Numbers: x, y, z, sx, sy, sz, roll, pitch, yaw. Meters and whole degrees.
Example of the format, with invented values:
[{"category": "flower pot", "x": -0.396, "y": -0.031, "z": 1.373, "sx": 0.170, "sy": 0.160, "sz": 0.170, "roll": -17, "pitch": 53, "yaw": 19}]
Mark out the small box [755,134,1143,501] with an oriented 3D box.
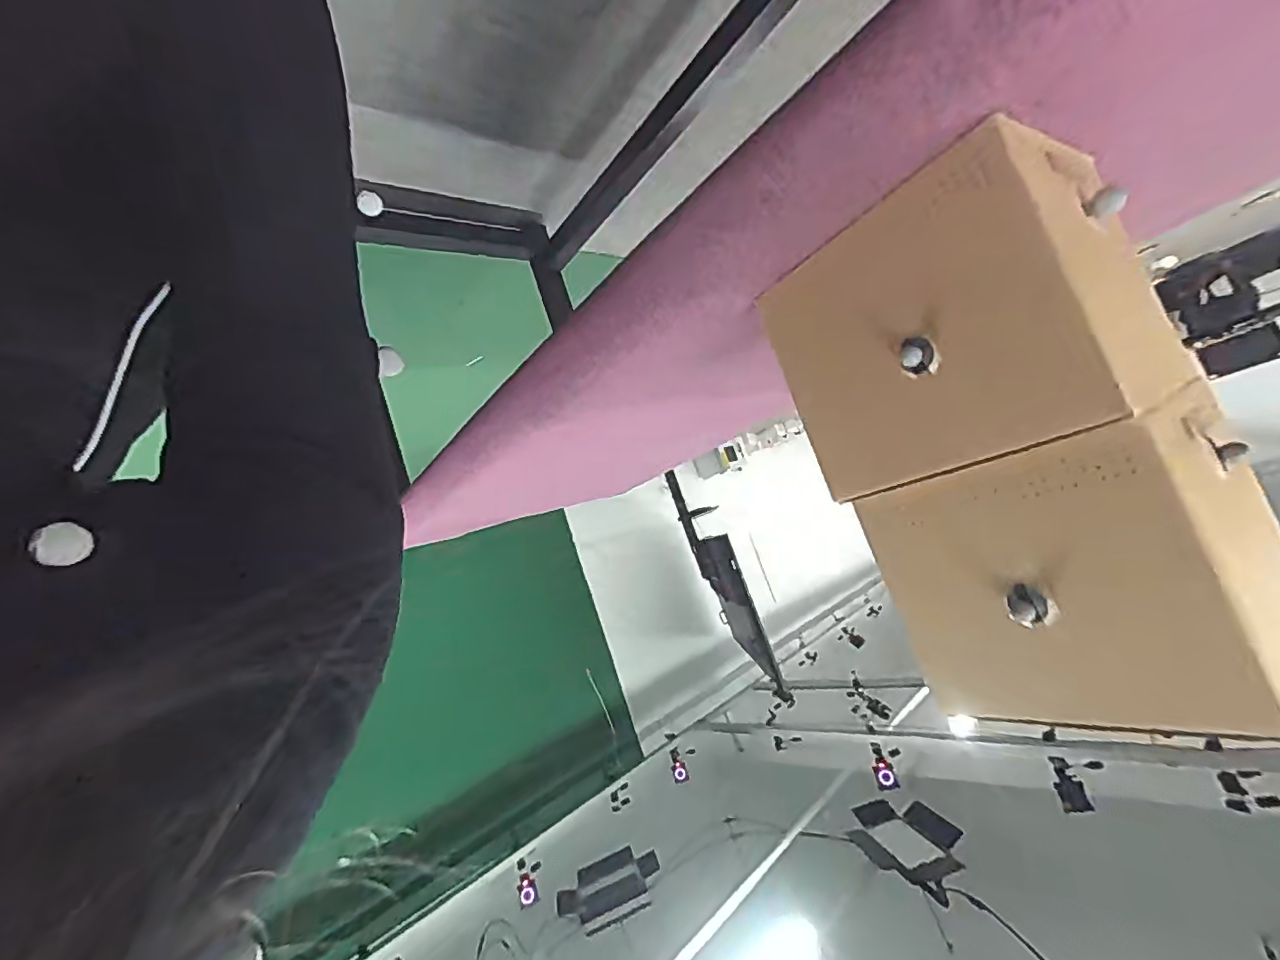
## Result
[{"category": "small box", "x": 0.206, "y": -0.102, "z": 0.393, "sx": 0.168, "sy": 0.176, "sz": 0.179, "roll": -16, "pitch": 172, "yaw": -37}]
